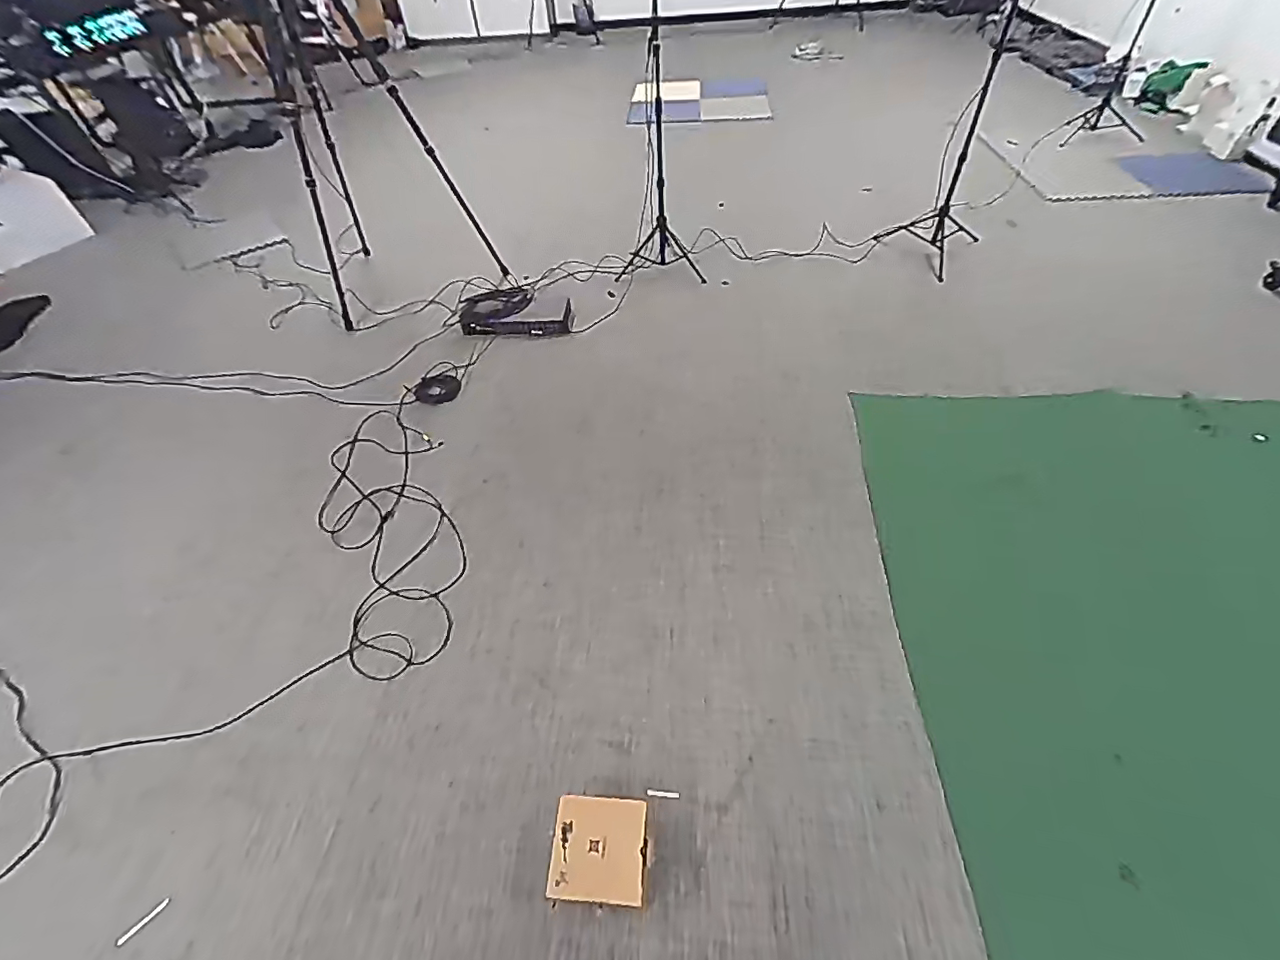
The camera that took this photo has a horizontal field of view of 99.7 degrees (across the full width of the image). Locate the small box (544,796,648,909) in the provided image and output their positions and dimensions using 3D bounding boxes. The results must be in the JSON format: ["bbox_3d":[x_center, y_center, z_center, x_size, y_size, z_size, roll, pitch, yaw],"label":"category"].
[{"bbox_3d":[-0.077,0.742,1.074,0.179,0.176,0.168,1,50,5],"label":"small box"}]
